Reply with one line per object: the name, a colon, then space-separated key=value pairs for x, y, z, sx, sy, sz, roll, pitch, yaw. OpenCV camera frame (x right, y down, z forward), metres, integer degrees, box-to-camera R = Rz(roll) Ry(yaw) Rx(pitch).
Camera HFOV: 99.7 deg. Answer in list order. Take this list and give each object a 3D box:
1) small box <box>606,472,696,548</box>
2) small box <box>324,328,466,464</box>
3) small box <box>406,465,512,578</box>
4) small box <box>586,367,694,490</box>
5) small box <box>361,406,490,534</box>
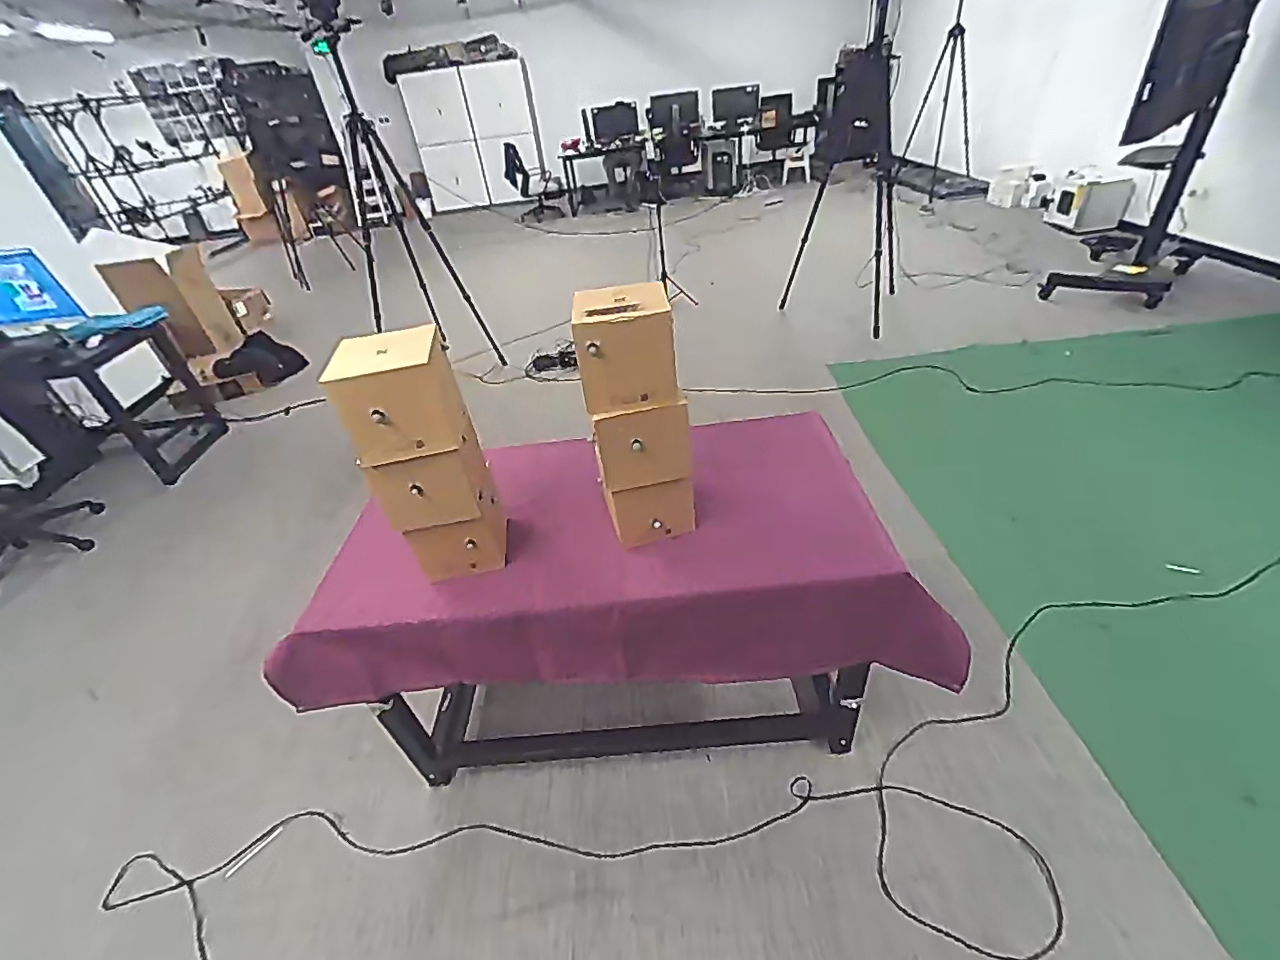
small box: x=0.017 y=0.019 z=1.180 sx=0.168 sy=0.176 sz=0.179 roll=-15 pitch=37 yaw=-7
small box: x=-0.412 y=-0.142 z=0.945 sx=0.168 sy=0.176 sz=0.179 roll=-13 pitch=36 yaw=-6
small box: x=-0.381 y=0.095 z=1.169 sx=0.168 sy=0.176 sz=0.179 roll=-10 pitch=36 yaw=-3
small box: x=0.001 y=-0.100 z=1.066 sx=0.179 sy=0.176 sz=0.168 roll=-12 pitch=37 yaw=-3
small box: x=-0.402 y=-0.019 z=1.051 sx=0.179 sy=0.176 sz=0.168 roll=-11 pitch=37 yaw=-3
